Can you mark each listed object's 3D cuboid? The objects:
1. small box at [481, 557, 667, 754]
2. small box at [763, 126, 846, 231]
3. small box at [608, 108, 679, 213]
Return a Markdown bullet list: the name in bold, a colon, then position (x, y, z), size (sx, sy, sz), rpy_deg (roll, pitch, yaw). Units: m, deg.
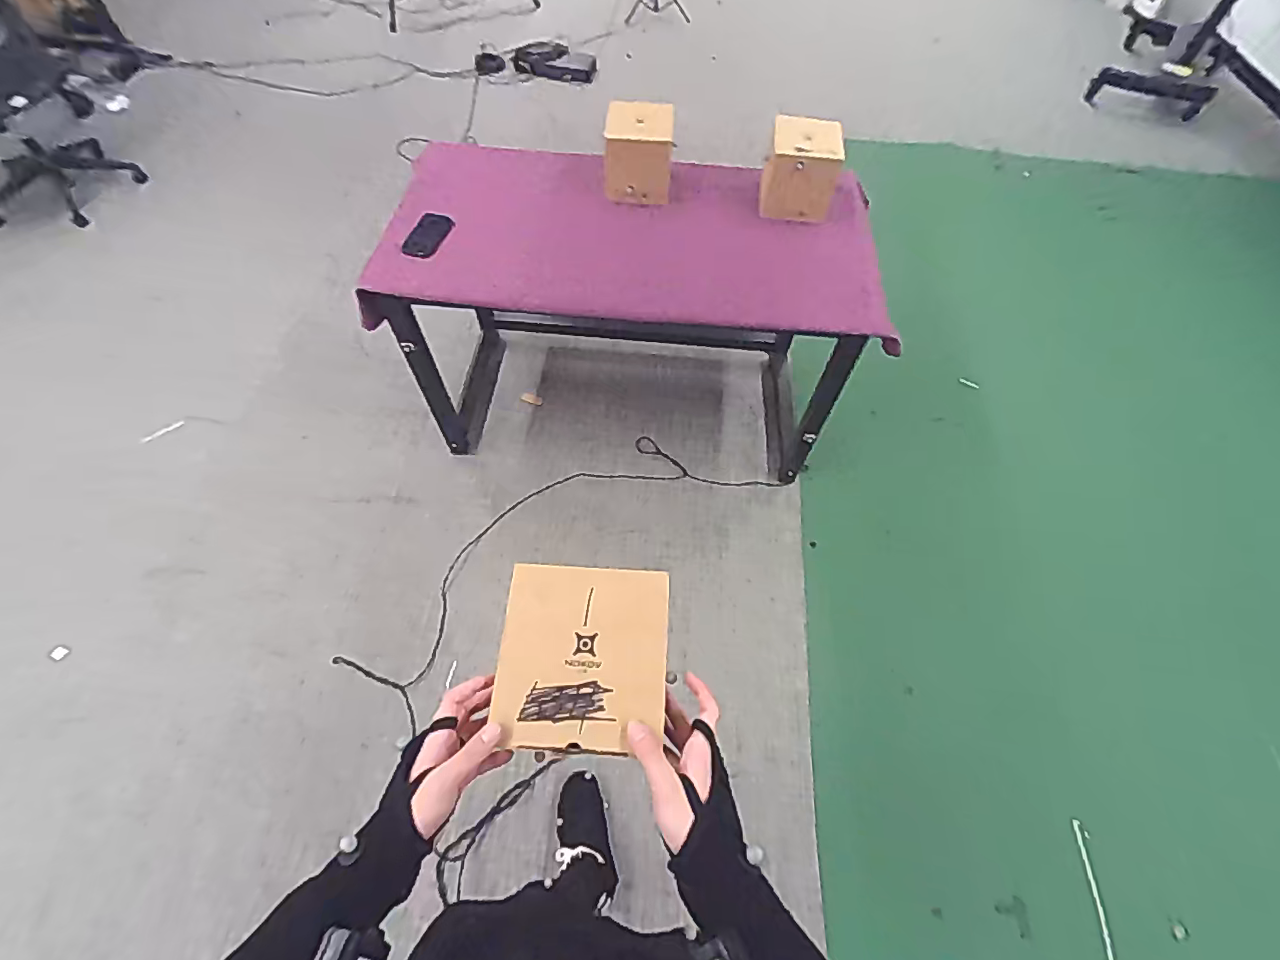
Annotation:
- **small box**: position (-0.059, 0.199, 0.596), size (0.168, 0.176, 0.179), rpy_deg (4, 63, 1)
- **small box**: position (0.416, -0.772, 1.388), size (0.168, 0.176, 0.179), rpy_deg (7, 58, 3)
- **small box**: position (0.009, -0.829, 1.408), size (0.168, 0.176, 0.179), rpy_deg (5, 59, 1)
